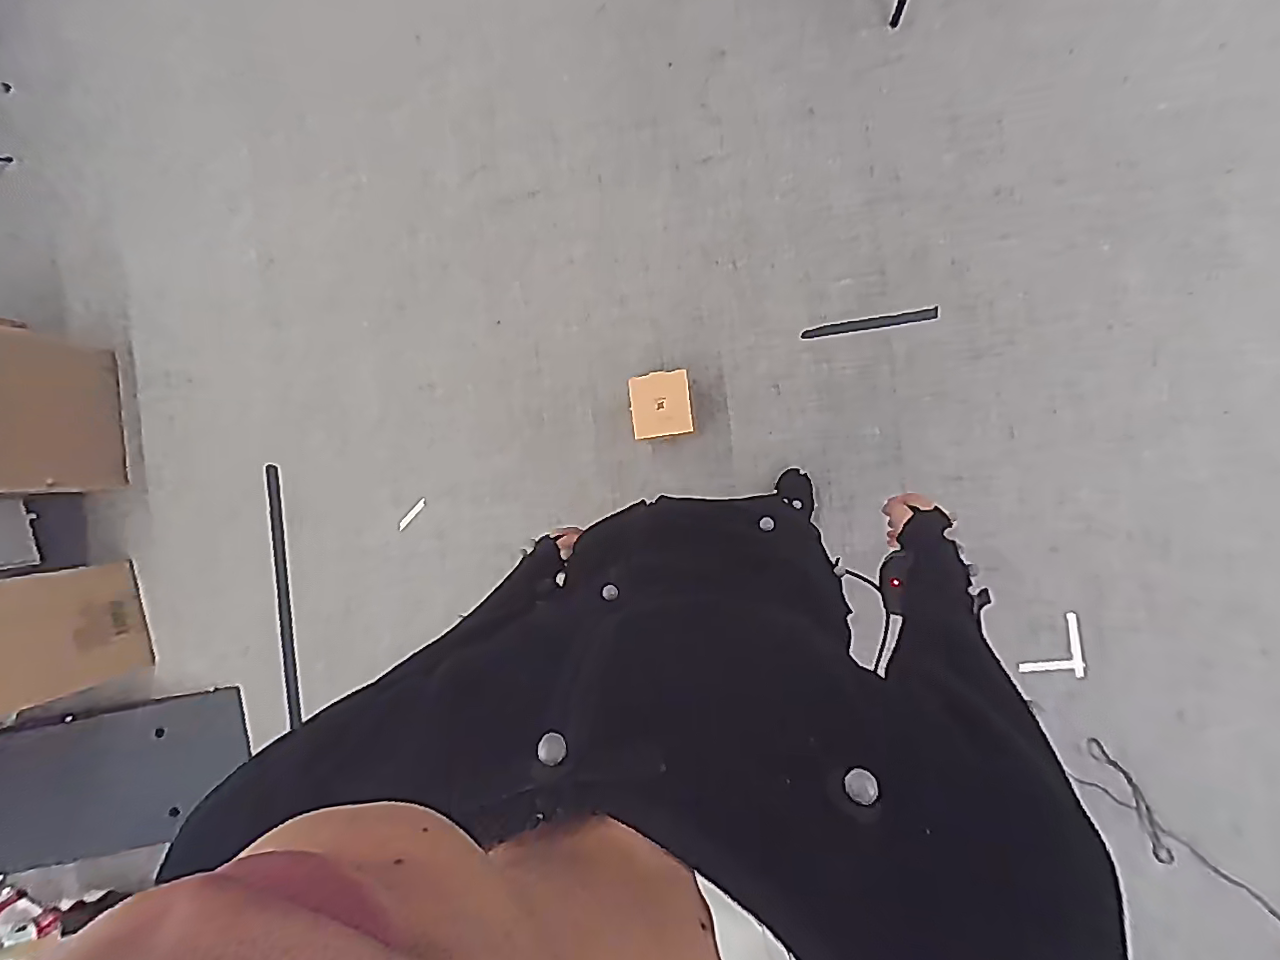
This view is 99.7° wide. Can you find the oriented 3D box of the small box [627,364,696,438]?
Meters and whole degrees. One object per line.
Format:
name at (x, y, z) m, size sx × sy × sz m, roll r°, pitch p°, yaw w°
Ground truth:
small box at (0.065, -0.221, 1.551) m, size 0.168 × 0.176 × 0.179 m, roll -6°, pitch 90°, yaw 11°
